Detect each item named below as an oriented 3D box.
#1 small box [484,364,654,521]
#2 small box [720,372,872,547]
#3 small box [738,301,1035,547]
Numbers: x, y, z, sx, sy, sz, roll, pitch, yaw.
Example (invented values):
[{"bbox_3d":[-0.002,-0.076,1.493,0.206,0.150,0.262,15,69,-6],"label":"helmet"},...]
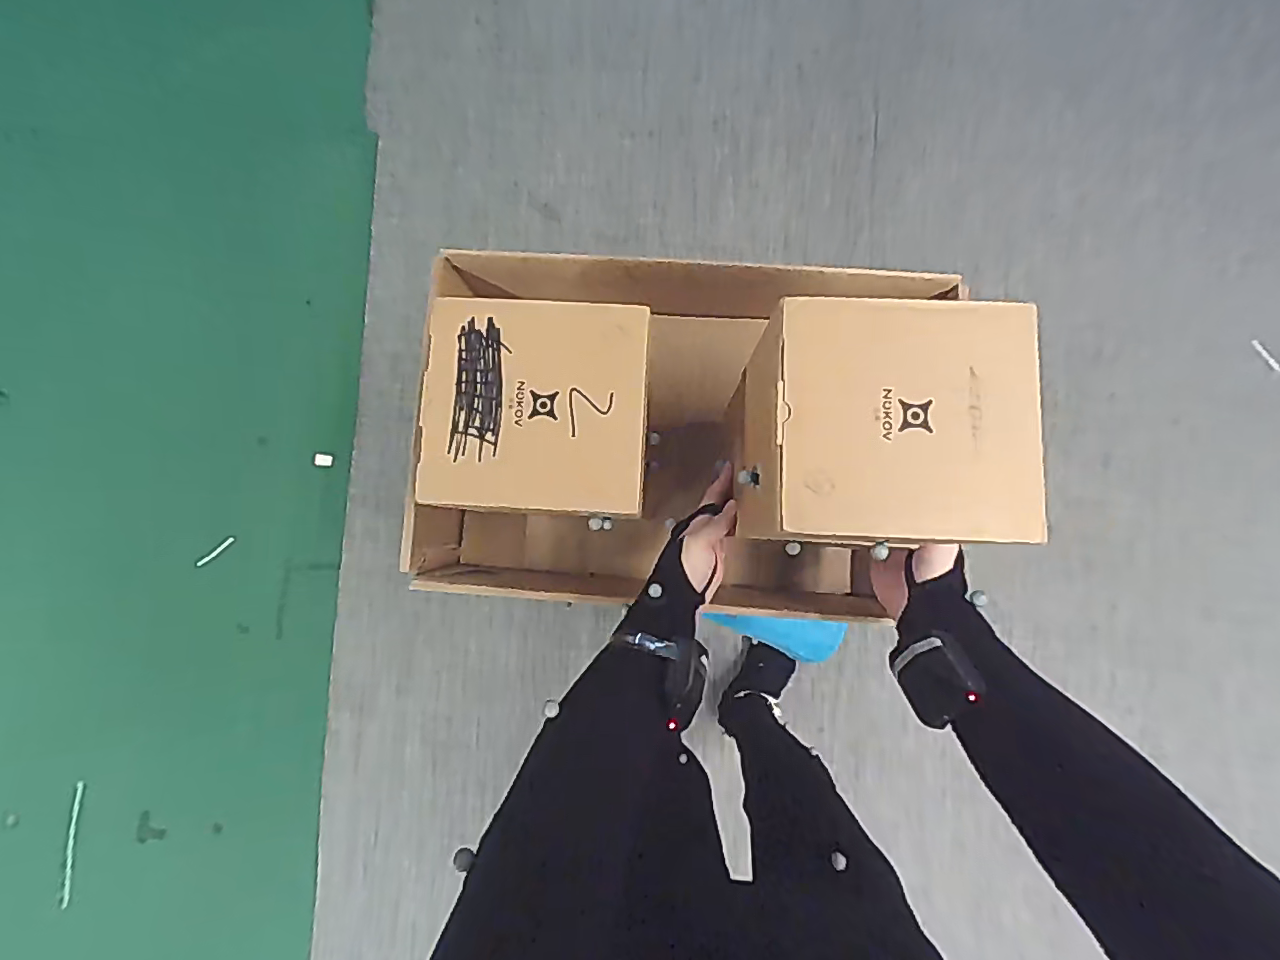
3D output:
[{"bbox_3d":[-0.076,-0.037,0.668,0.179,0.176,0.168,3,85,2],"label":"small box"},{"bbox_3d":[0.186,-0.013,0.606,0.179,0.176,0.168,4,83,3],"label":"small box"},{"bbox_3d":[0.178,-0.031,0.444,0.179,0.176,0.168,3,84,2],"label":"small box"}]
